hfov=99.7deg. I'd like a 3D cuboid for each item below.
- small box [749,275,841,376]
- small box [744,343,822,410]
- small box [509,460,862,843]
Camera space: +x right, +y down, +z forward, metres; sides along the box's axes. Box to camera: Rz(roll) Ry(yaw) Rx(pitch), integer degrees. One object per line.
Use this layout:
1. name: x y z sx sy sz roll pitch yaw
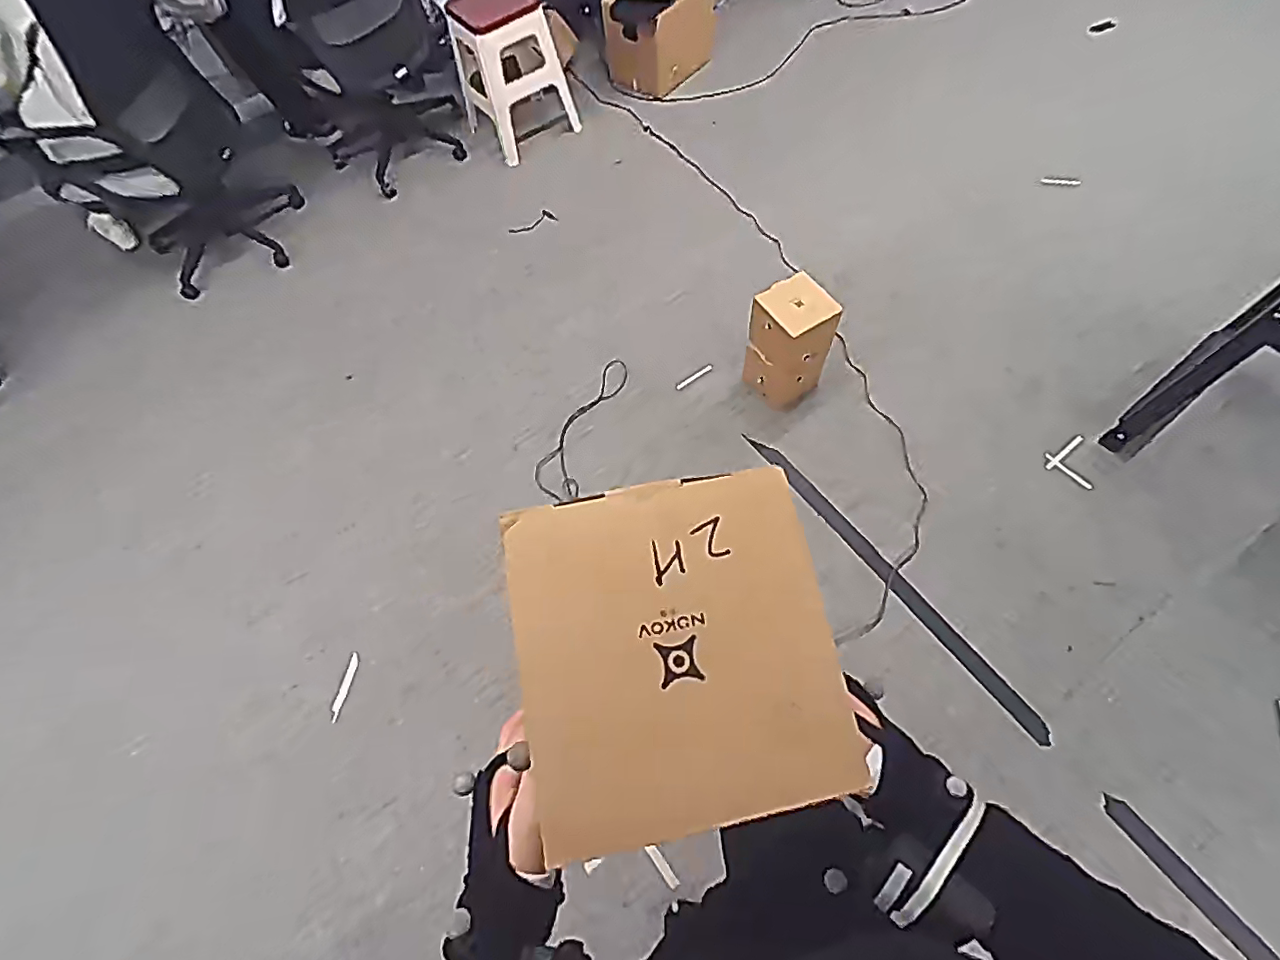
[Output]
1. small box: 0.421 -0.425 1.506 0.168 0.176 0.179 -30 65 -9
2. small box: 0.433 -0.347 1.650 0.179 0.176 0.168 -35 65 -11
3. small box: 0.016 0.104 0.368 0.168 0.176 0.179 -10 74 -7
